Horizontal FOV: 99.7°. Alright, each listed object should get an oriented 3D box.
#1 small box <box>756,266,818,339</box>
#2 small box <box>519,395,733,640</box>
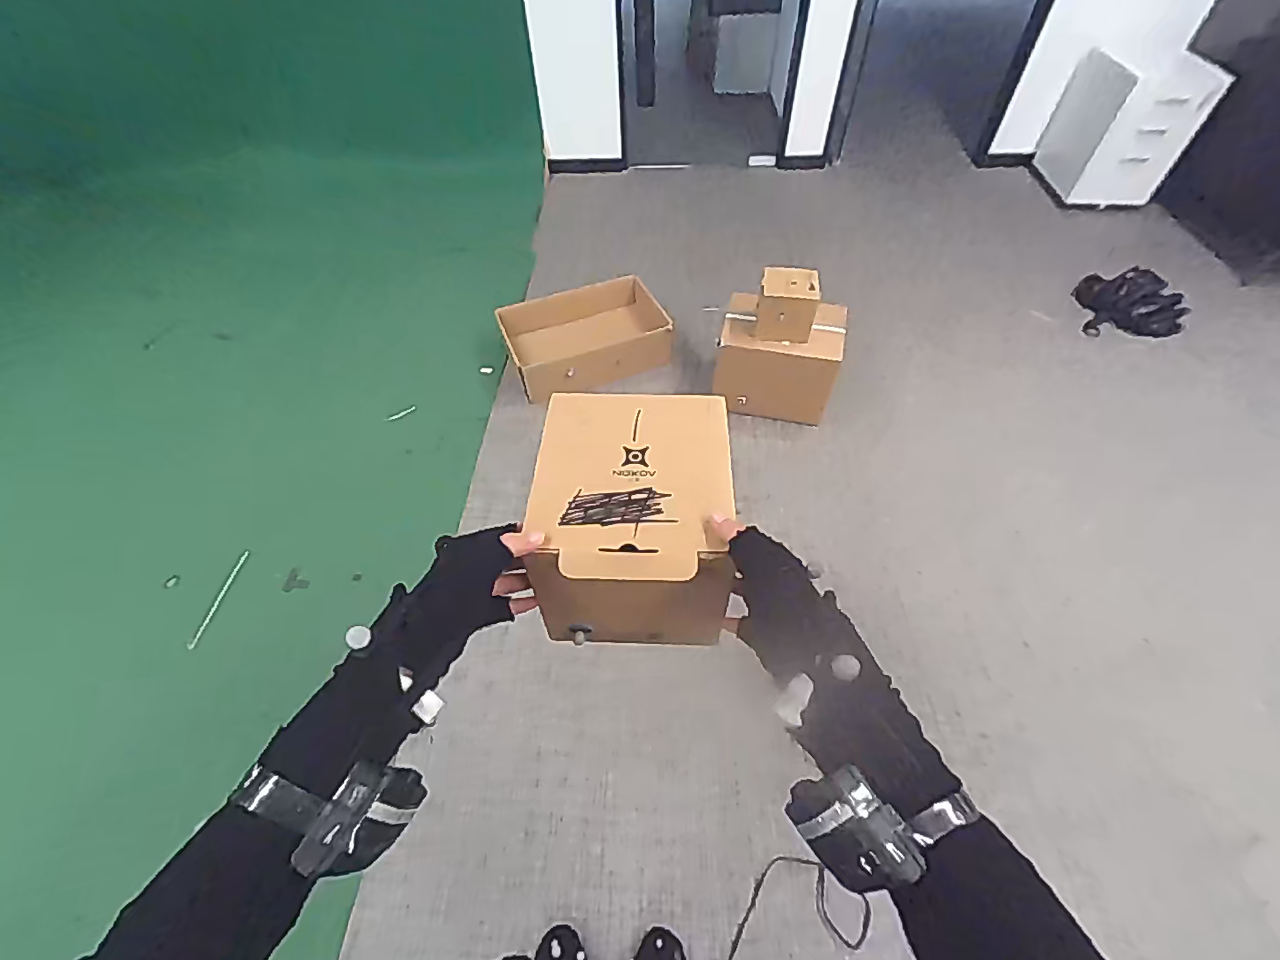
[{"bbox_3d":[0.479,-0.581,1.779,0.179,0.176,0.168,6,53,7],"label":"small box"},{"bbox_3d":[-0.005,0.039,0.516,0.168,0.176,0.179,1,50,2],"label":"small box"}]
